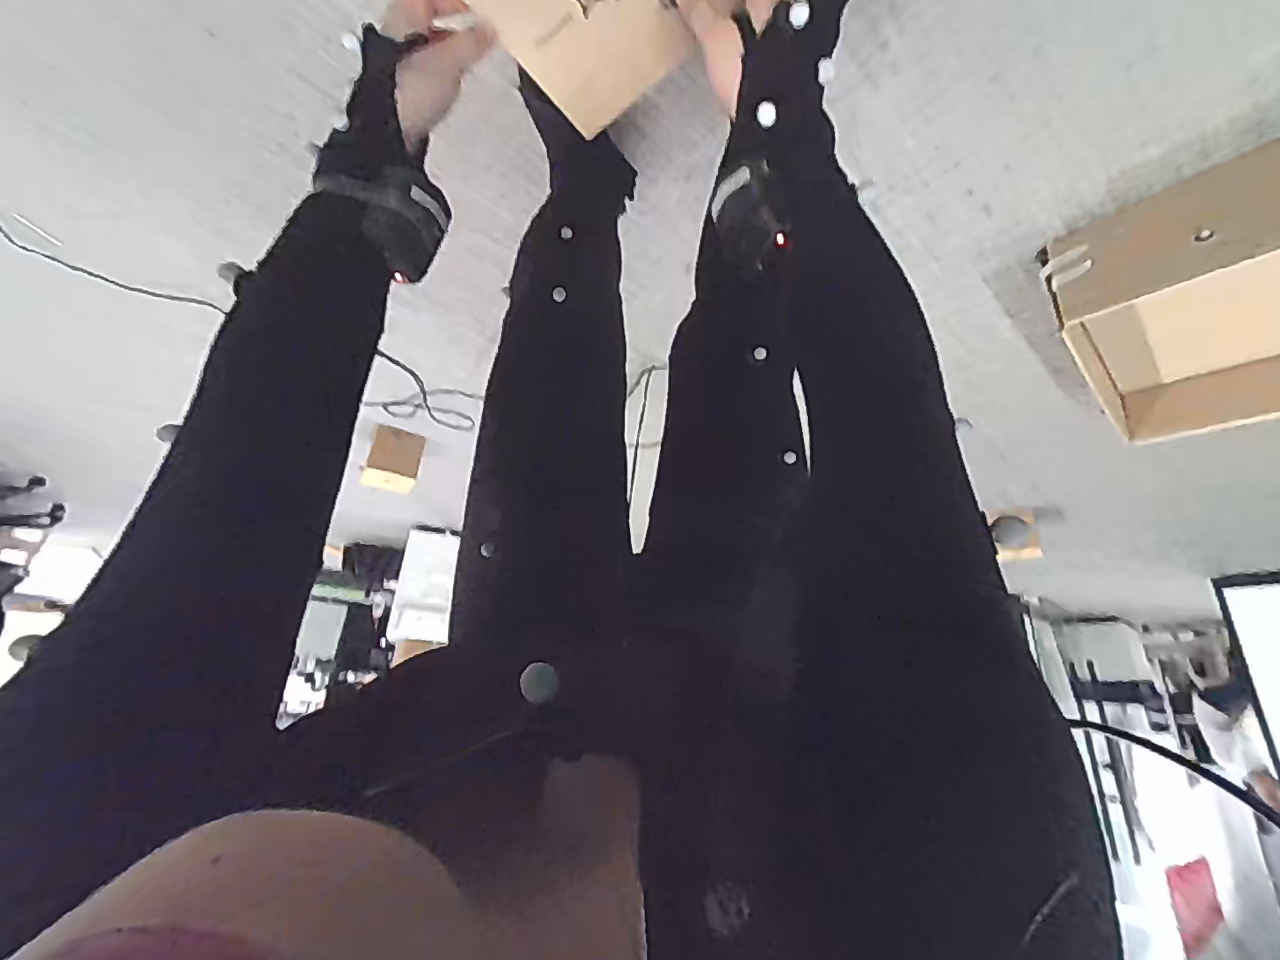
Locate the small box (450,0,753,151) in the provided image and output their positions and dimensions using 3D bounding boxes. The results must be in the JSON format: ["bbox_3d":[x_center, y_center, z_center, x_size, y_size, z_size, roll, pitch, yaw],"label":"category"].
[{"bbox_3d":[-0.030,-0.429,0.435,0.179,0.176,0.168,-17,150,35],"label":"small box"}]

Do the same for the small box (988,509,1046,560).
[{"bbox_3d":[1.560,0.224,2.240,0.168,0.176,0.179,-13,152,36],"label":"small box"}]

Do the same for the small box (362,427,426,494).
[{"bbox_3d":[-0.883,-0.068,1.944,0.168,0.176,0.179,16,154,-27],"label":"small box"}]
